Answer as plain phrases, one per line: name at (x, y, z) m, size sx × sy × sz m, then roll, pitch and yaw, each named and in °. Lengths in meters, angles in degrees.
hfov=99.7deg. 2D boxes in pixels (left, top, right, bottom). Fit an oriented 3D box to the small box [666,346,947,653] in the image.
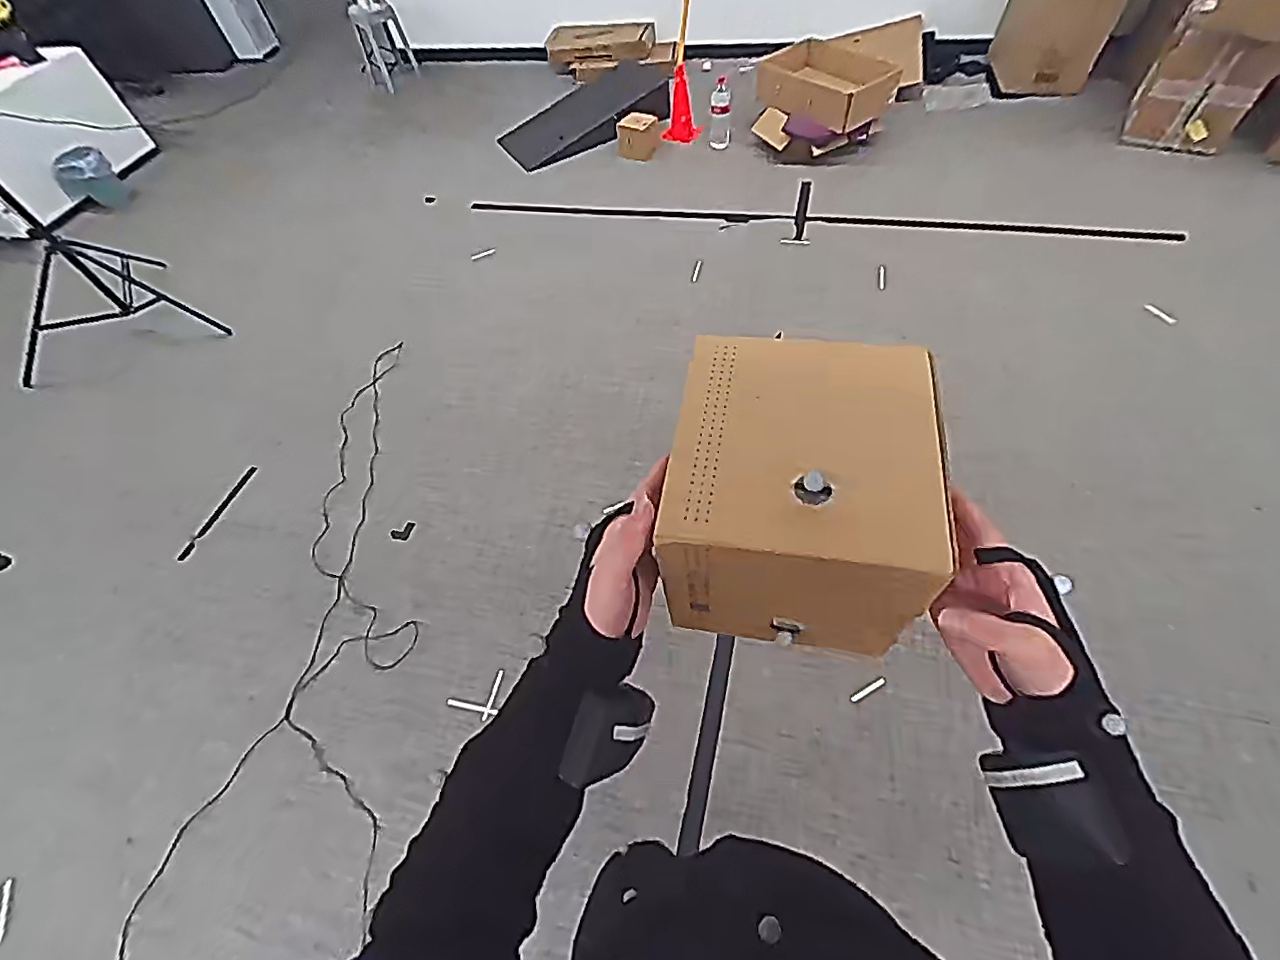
small box at (0.113, 0.016, 0.422) m, size 0.176 × 0.168 × 0.179 m, roll 6°, pitch 60°, yaw 10°
